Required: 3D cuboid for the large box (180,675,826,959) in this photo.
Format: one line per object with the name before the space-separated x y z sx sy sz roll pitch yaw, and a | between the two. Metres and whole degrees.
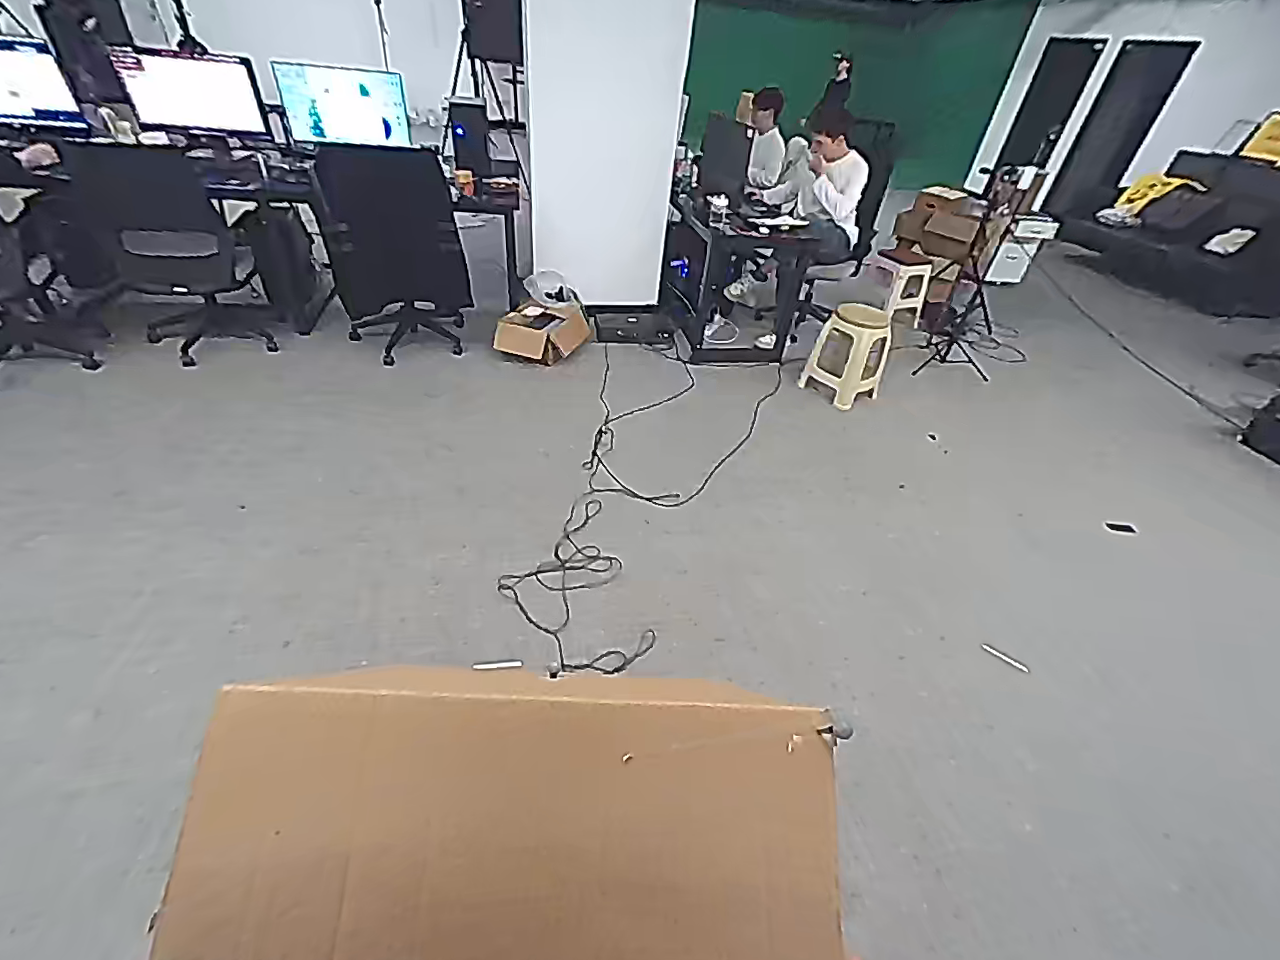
large box | -0.091 0.341 0.474 0.408 0.320 0.320 3 74 -5
